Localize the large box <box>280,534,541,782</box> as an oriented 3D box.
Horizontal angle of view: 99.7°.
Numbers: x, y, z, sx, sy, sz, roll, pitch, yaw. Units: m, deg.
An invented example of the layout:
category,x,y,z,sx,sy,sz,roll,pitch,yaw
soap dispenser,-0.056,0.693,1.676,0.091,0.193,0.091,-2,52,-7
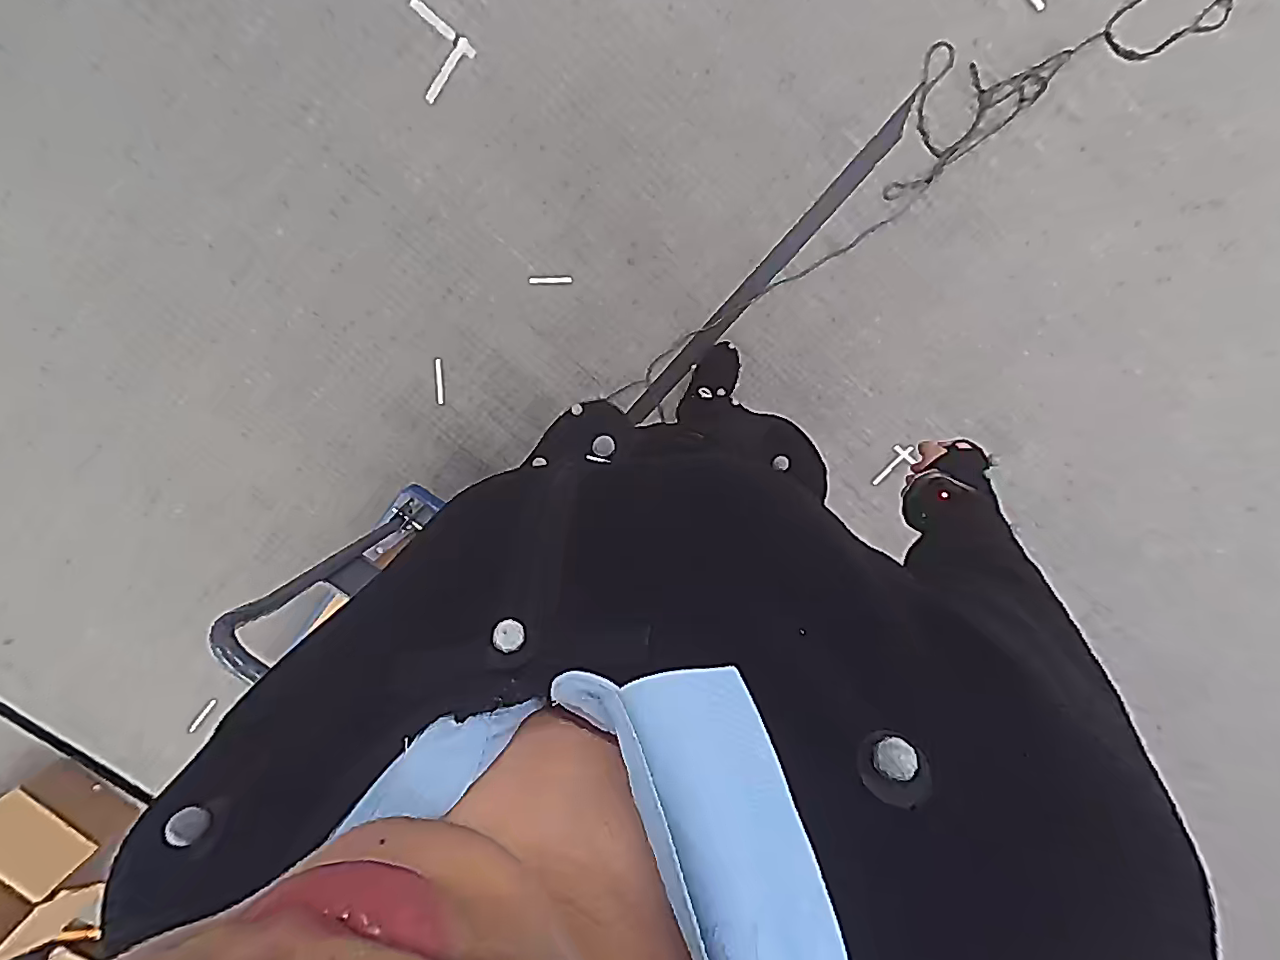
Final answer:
category,x,y,z,sx,sy,sz,roll,pitch,yaw
large box,-0.505,0.397,1.272,0.408,0.320,0.320,38,101,-7
